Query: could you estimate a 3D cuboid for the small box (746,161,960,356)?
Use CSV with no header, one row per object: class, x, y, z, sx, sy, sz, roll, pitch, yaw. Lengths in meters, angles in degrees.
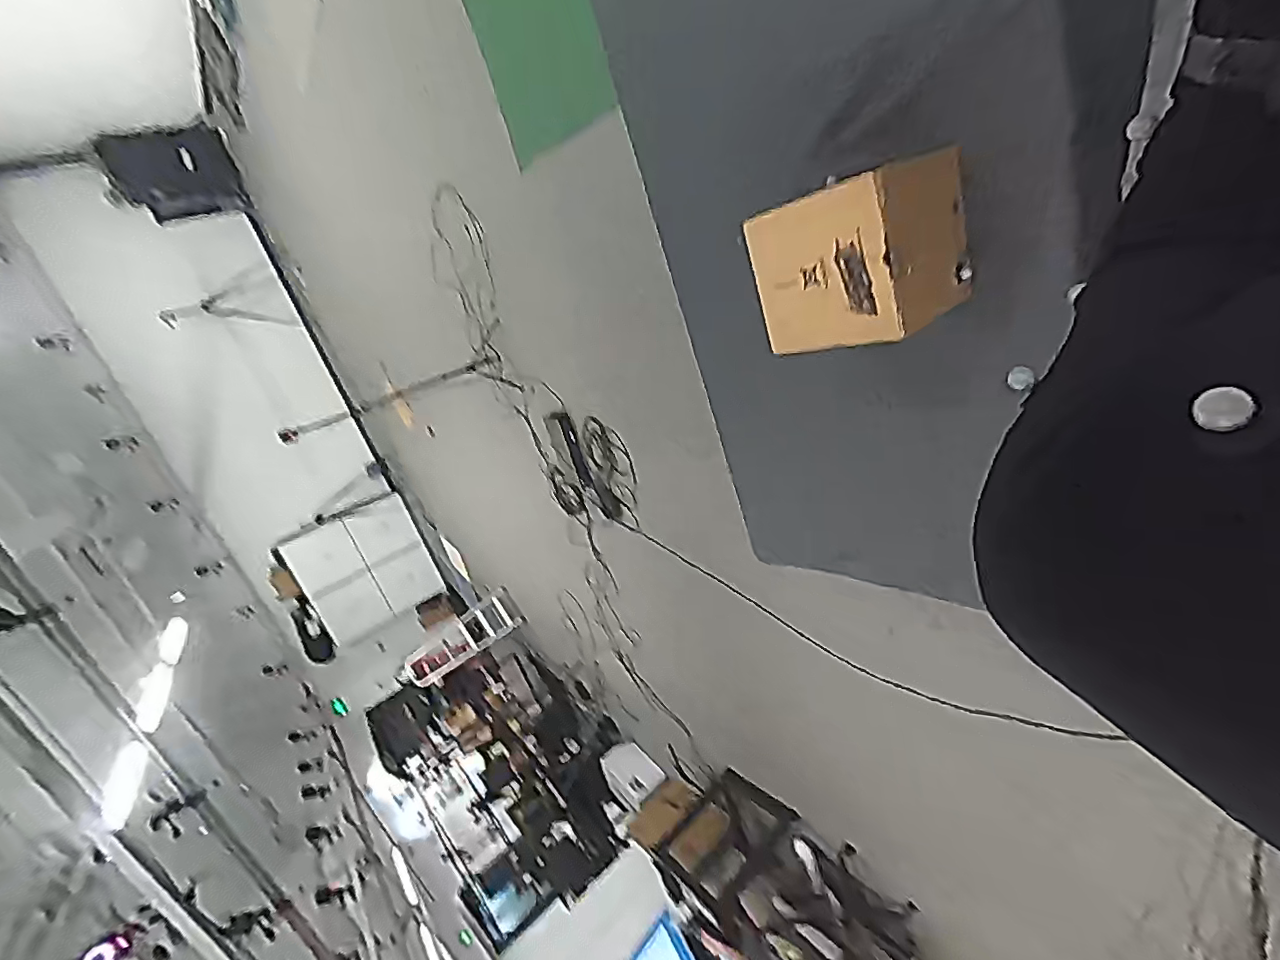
small box,0.264,-0.263,0.657,0.179,0.176,0.168,9,123,54
